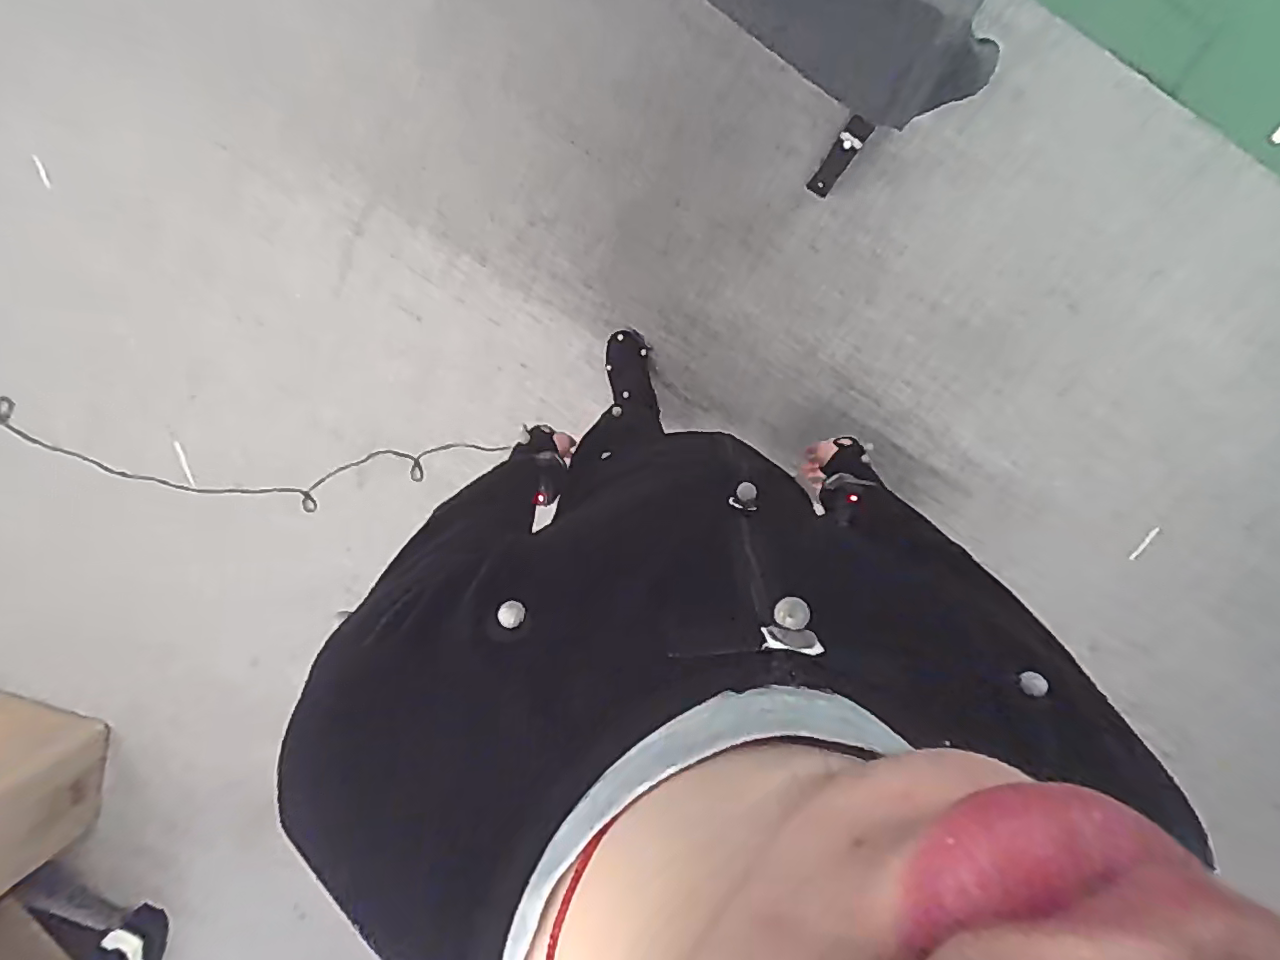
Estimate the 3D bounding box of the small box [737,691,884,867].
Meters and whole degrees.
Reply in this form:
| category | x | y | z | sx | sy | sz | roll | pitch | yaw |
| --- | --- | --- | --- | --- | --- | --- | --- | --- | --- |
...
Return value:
| category | x | y | z | sx | sy | sz | roll | pitch | yaw |
| --- | --- | --- | --- | --- | --- | --- | --- | --- | --- |
| small box | 0.288 | 0.523 | 0.966 | 0.168 | 0.176 | 0.179 | 34 | 100 | -4 |
